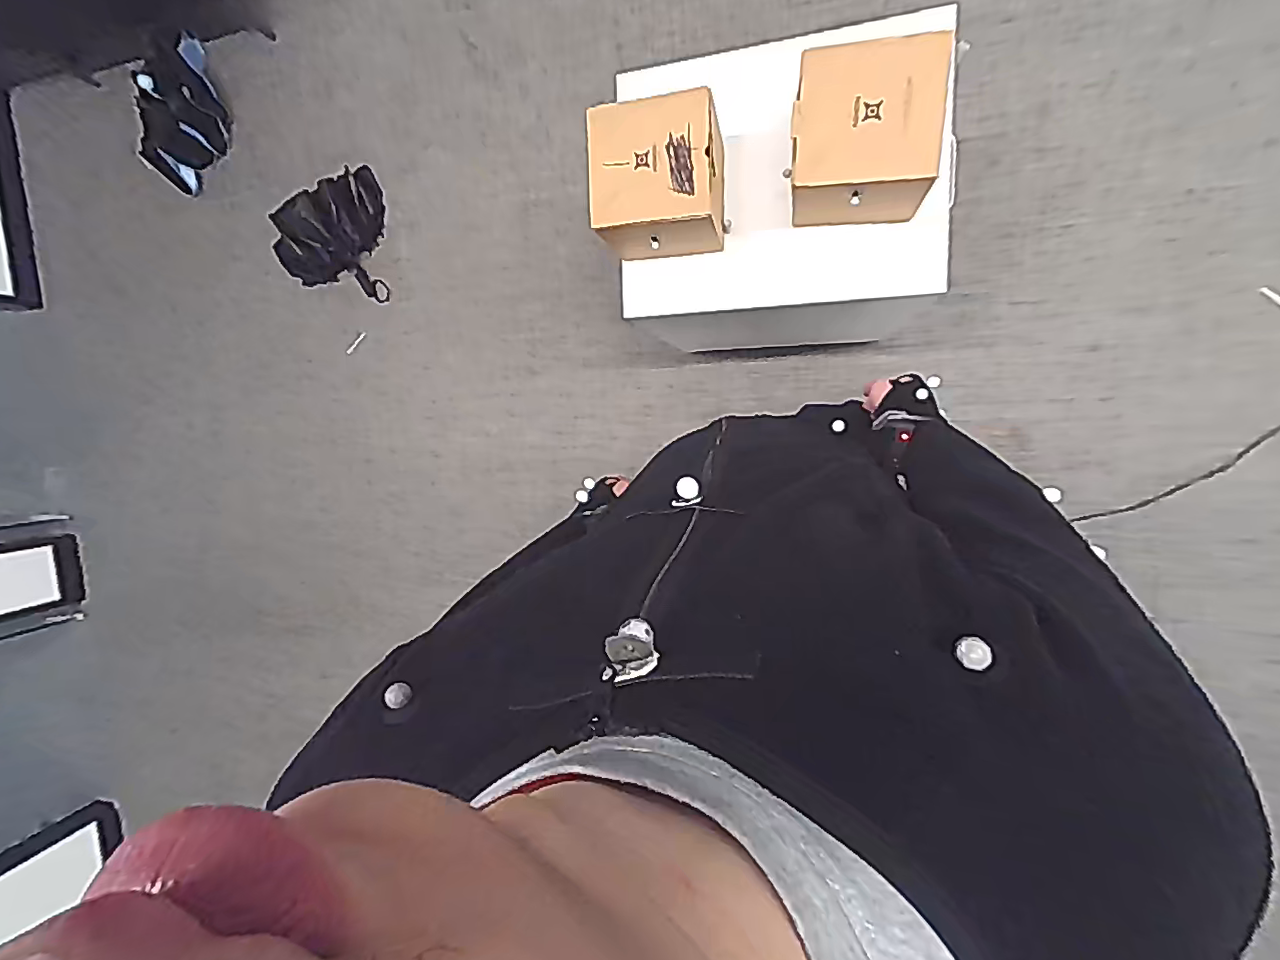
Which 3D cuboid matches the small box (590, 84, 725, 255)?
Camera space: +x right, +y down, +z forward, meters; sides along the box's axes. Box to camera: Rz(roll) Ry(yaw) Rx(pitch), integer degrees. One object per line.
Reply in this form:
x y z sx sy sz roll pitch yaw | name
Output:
0.035 -0.453 0.818 0.179 0.176 0.168 1 97 16 | small box

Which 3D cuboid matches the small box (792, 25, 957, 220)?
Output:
0.306 -0.469 0.742 0.179 0.176 0.168 4 100 15 | small box
